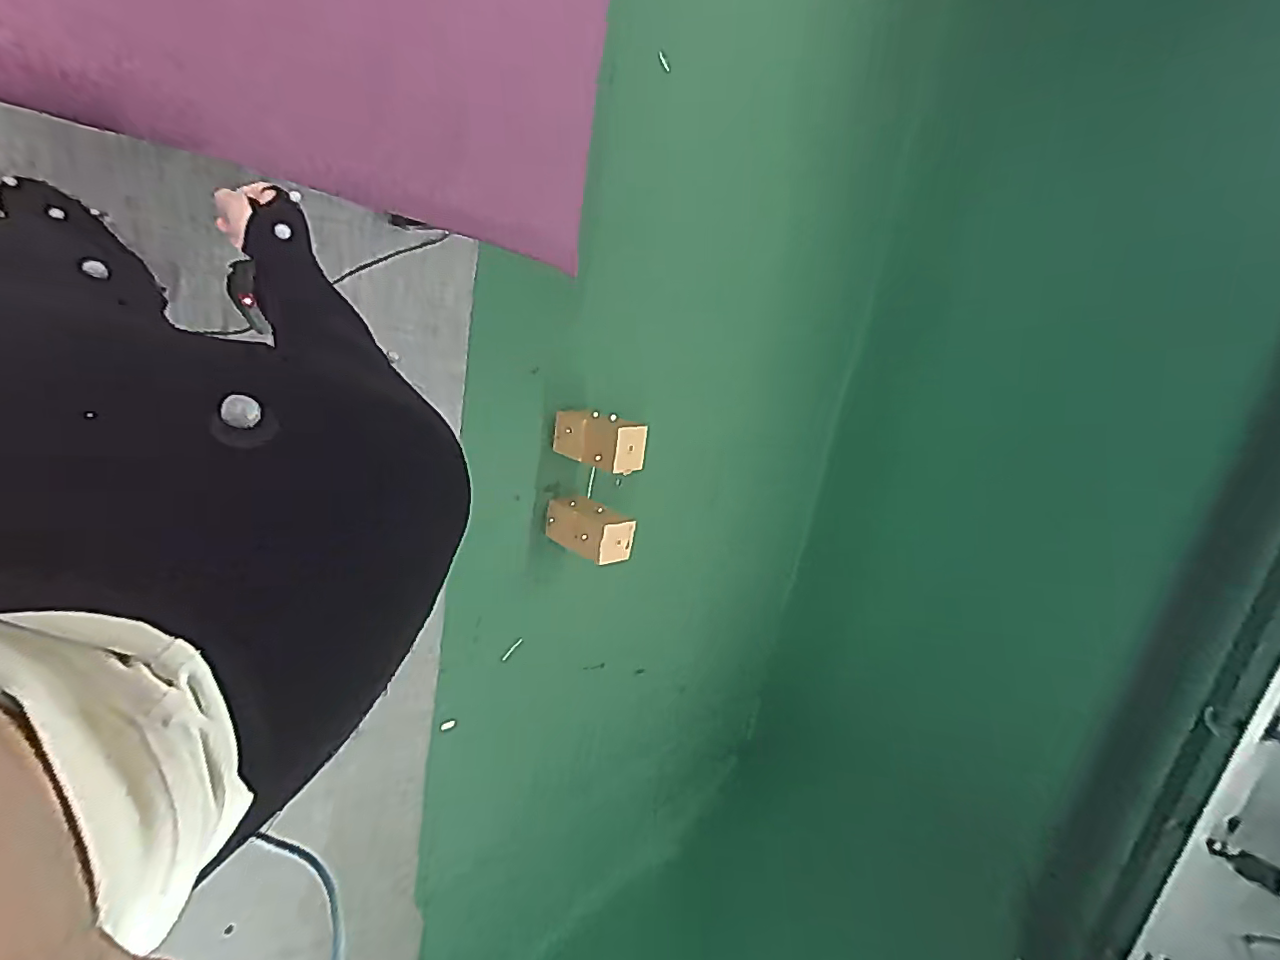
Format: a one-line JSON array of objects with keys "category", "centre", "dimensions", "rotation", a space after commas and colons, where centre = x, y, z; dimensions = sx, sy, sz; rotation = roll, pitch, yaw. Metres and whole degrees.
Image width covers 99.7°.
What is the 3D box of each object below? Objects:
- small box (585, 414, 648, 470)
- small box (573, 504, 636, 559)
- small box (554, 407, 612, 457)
[{"category": "small box", "centre": [-0.095, -0.151, 2.066], "dimensions": [0.168, 0.176, 0.179], "rotation": [-10, 113, -48]}, {"category": "small box", "centre": [-0.146, 0.202, 2.162], "dimensions": [0.179, 0.176, 0.168], "rotation": [-3, 110, -47]}, {"category": "small box", "centre": [-0.224, -0.196, 2.154], "dimensions": [0.179, 0.176, 0.168], "rotation": [-10, 114, -48]}]
